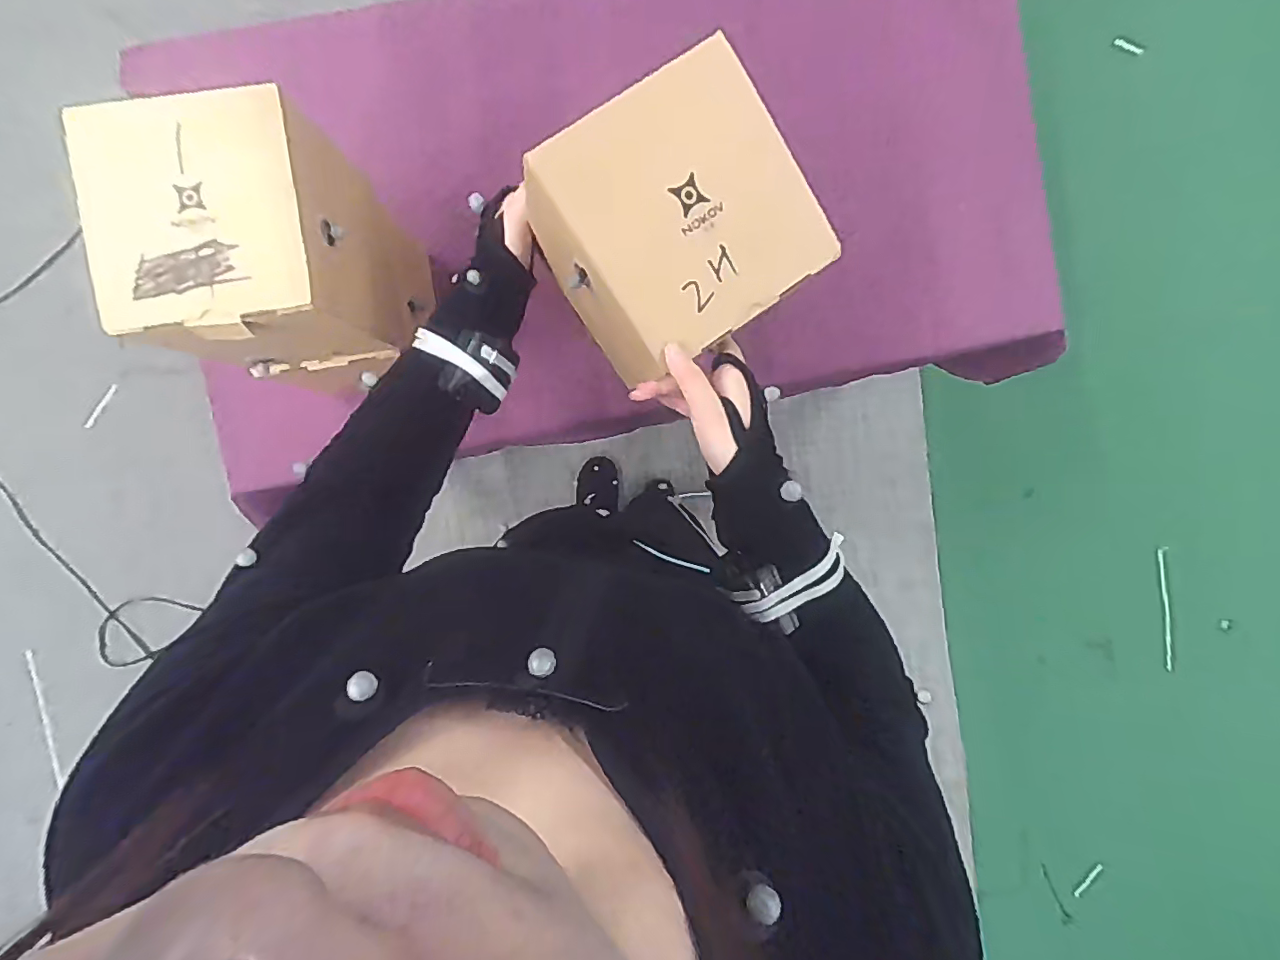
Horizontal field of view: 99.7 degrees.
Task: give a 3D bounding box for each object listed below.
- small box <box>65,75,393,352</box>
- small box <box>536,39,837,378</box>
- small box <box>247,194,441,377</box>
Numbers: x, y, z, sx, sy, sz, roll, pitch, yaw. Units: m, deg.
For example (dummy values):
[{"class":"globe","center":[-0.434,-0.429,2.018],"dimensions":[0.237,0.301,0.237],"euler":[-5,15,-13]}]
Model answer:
[{"class":"small box","center":[-0.348,-0.221,0.497],"dimensions":[0.168,0.176,0.179],"euler":[-7,93,-3]},{"class":"small box","center":[0.023,-0.202,0.462],"dimensions":[0.168,0.176,0.179],"euler":[-34,103,-5]},{"class":"small box","center":[-0.358,-0.224,0.662],"dimensions":[0.168,0.176,0.179],"euler":[-8,95,-3]}]
